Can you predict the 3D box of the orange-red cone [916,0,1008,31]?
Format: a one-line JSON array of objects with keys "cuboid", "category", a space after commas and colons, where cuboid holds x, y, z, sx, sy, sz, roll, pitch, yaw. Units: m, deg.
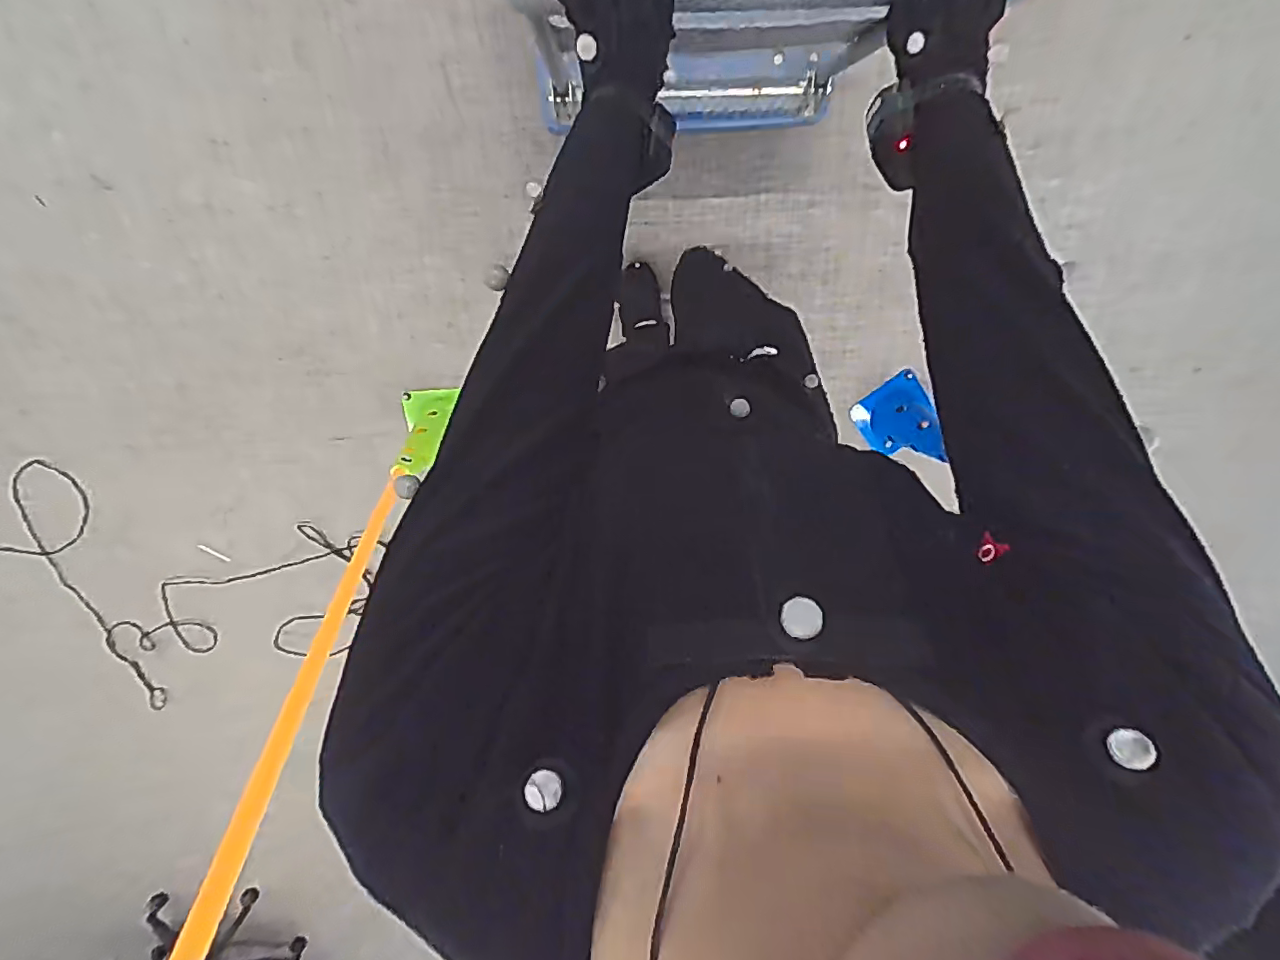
[{"cuboid": [0.702, -1.010, 0.975, 0.198, 0.360, 0.199, 8, 113, -5], "category": "orange-red cone"}]
